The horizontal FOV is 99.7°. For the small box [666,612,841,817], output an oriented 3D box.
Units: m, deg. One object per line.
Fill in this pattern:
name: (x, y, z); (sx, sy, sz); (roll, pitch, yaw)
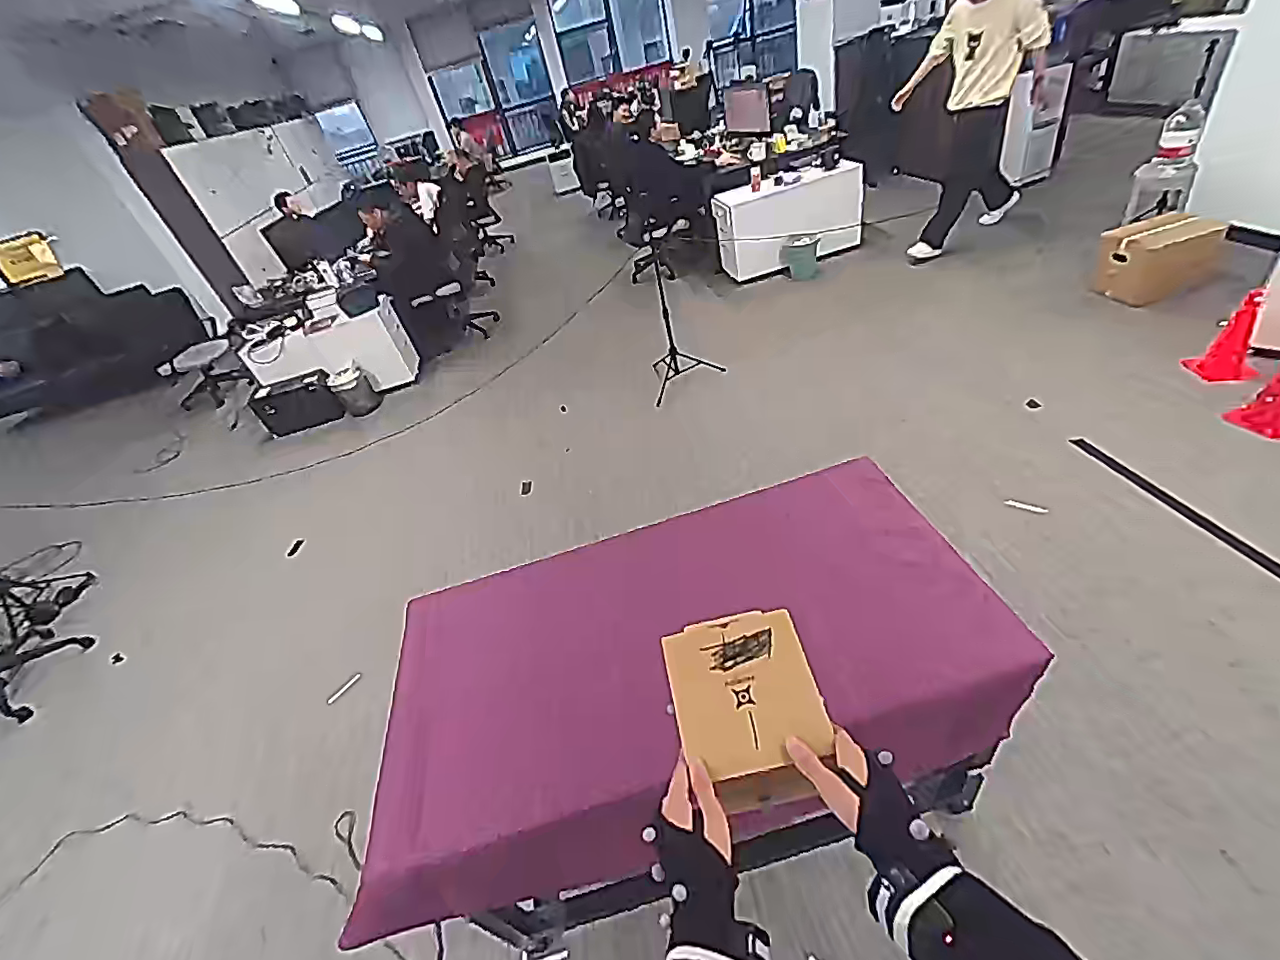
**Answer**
small box: (0.137, 0.301, 0.691); (0.168, 0.176, 0.179); (-14, 46, 2)
